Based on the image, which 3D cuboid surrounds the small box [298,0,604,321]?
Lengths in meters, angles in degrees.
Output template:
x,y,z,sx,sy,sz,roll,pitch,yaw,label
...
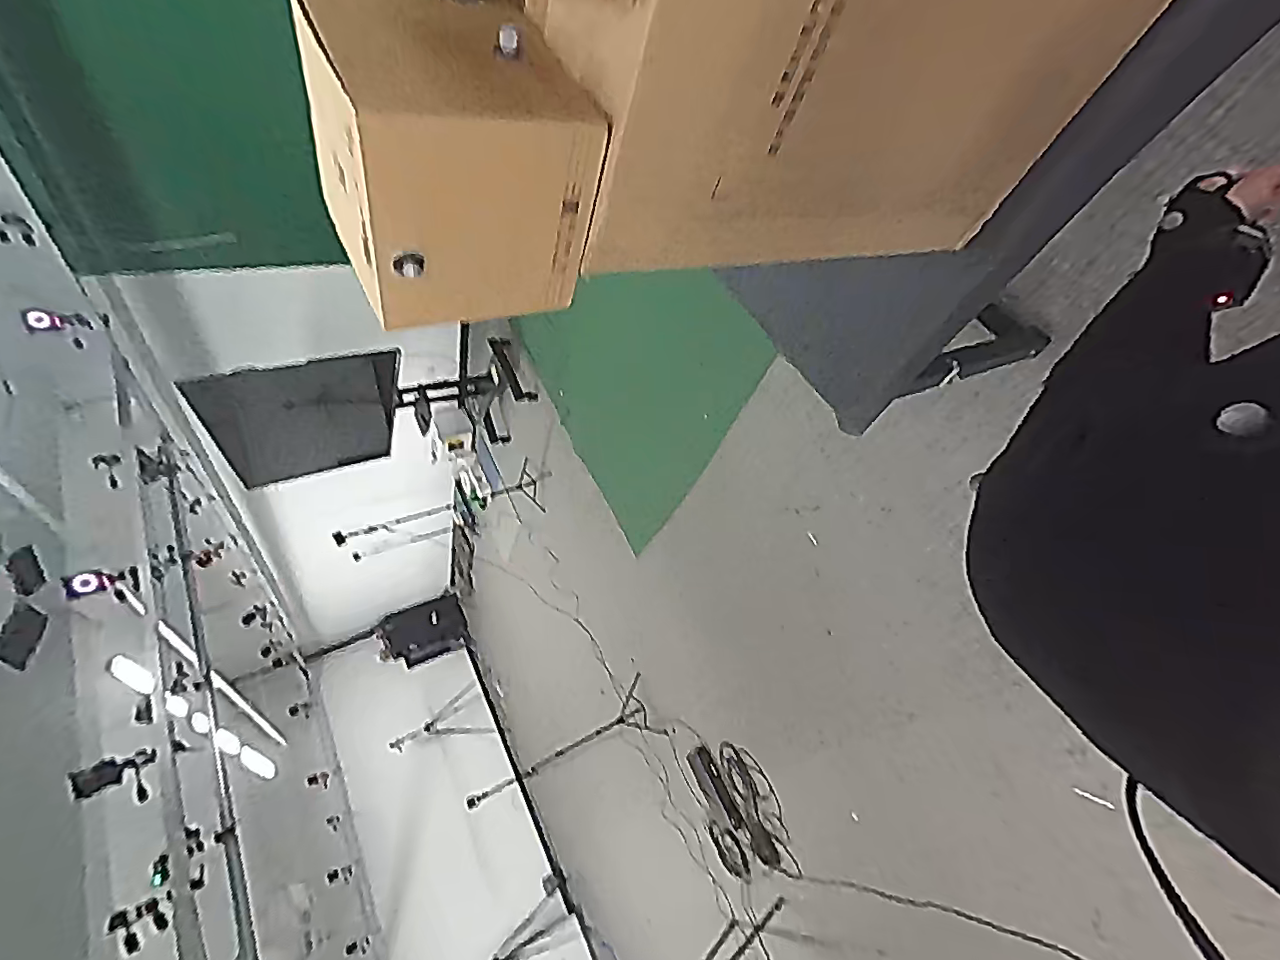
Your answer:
x,y,z,sx,sy,sz,roll,pitch,yaw,label
-0.151,-0.257,0.441,0.179,0.176,0.168,61,151,22,small box
